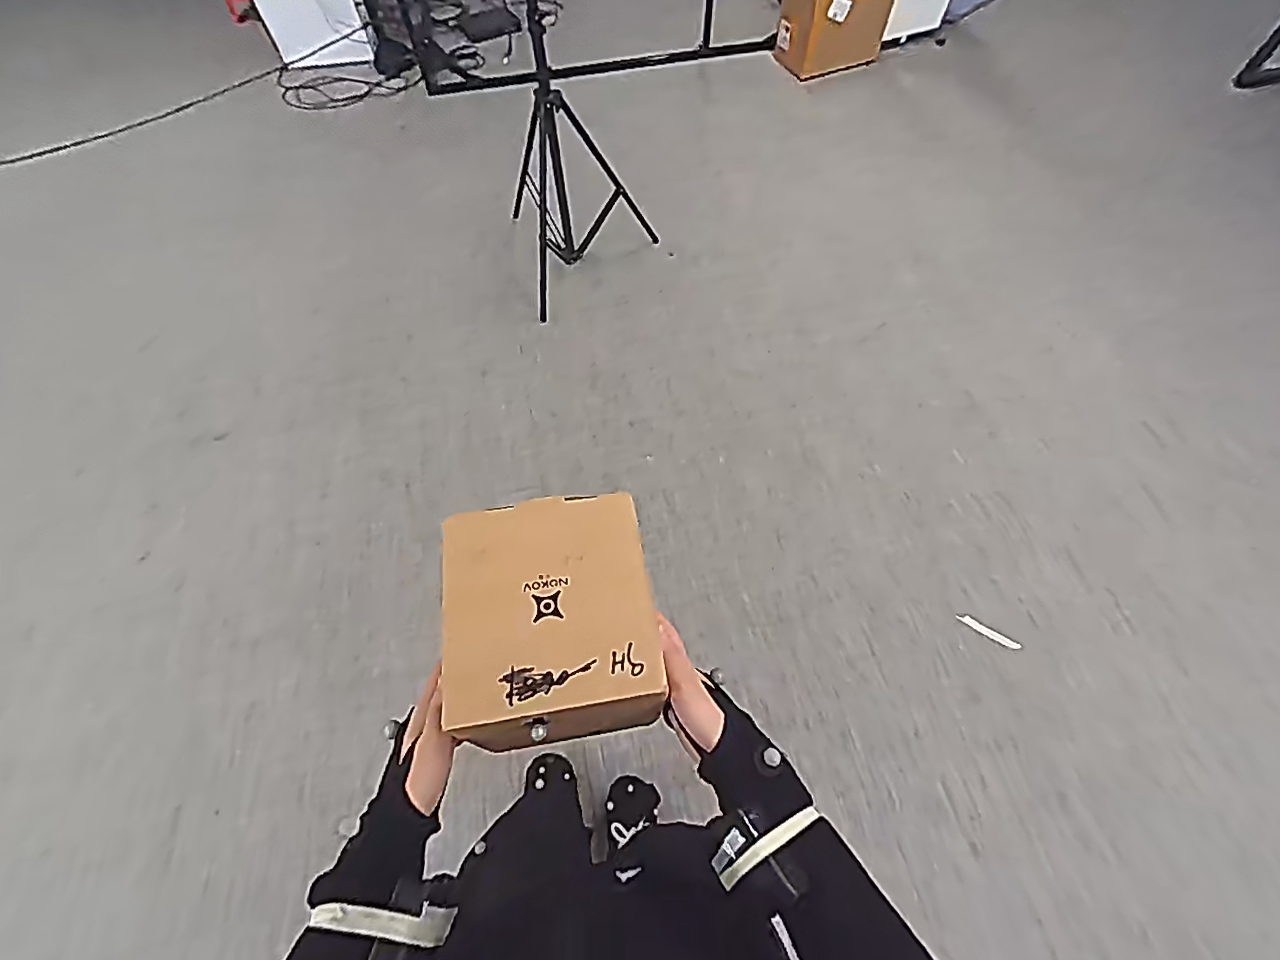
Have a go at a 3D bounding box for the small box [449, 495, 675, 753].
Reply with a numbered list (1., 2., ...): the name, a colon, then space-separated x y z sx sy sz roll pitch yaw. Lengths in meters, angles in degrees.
1. small box: -0.070 0.136 0.499 0.168 0.176 0.179 -7 59 -7
